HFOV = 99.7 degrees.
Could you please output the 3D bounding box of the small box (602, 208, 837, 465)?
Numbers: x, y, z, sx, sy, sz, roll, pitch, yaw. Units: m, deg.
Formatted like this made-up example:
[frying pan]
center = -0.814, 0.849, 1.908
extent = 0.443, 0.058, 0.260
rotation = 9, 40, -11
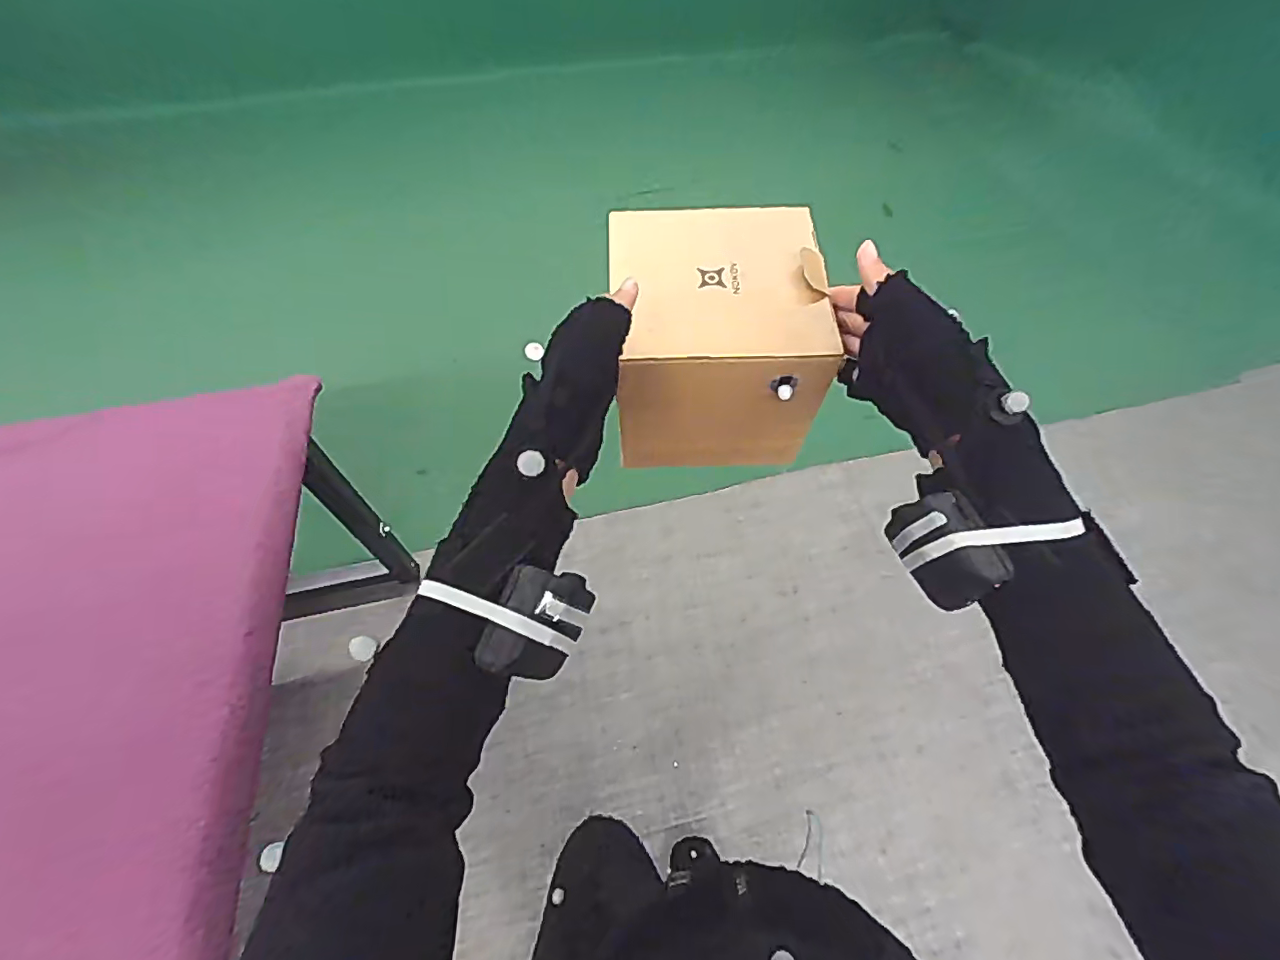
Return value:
[small box]
center = 0.059, -0.123, 0.504
extent = 0.179, 0.176, 0.168
rotation = -2, 62, 0
